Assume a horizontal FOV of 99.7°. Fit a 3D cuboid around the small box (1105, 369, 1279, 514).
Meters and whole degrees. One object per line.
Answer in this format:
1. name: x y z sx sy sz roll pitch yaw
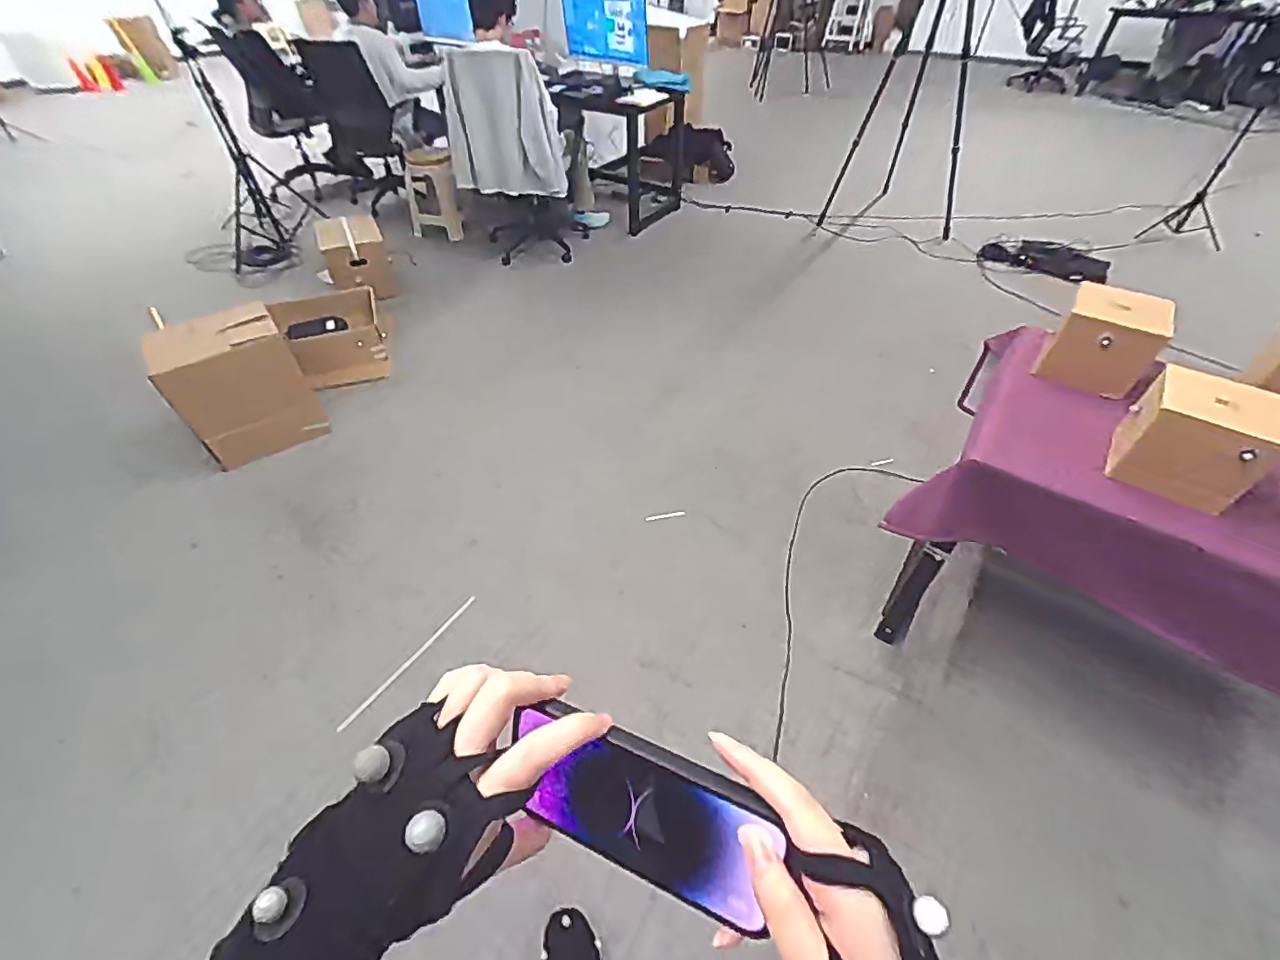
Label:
1. small box: 0.997 -0.068 0.980 0.179 0.176 0.168 29 53 25
